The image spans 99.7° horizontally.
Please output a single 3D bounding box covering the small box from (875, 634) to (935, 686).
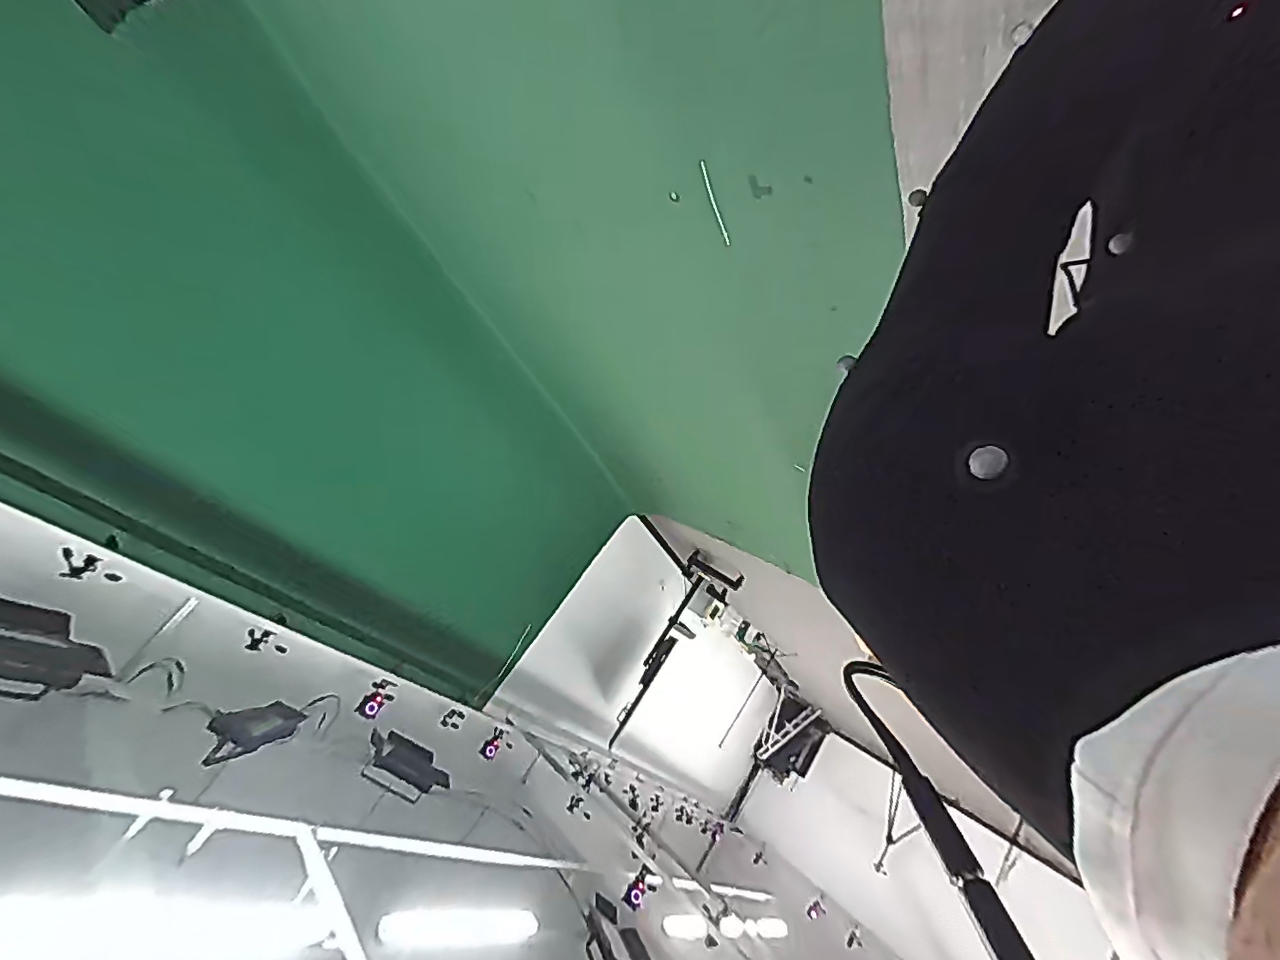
[{"bbox_3d":[1.073,0.695,2.180,0.168,0.176,0.179,21,158,40],"label":"small box"}]
